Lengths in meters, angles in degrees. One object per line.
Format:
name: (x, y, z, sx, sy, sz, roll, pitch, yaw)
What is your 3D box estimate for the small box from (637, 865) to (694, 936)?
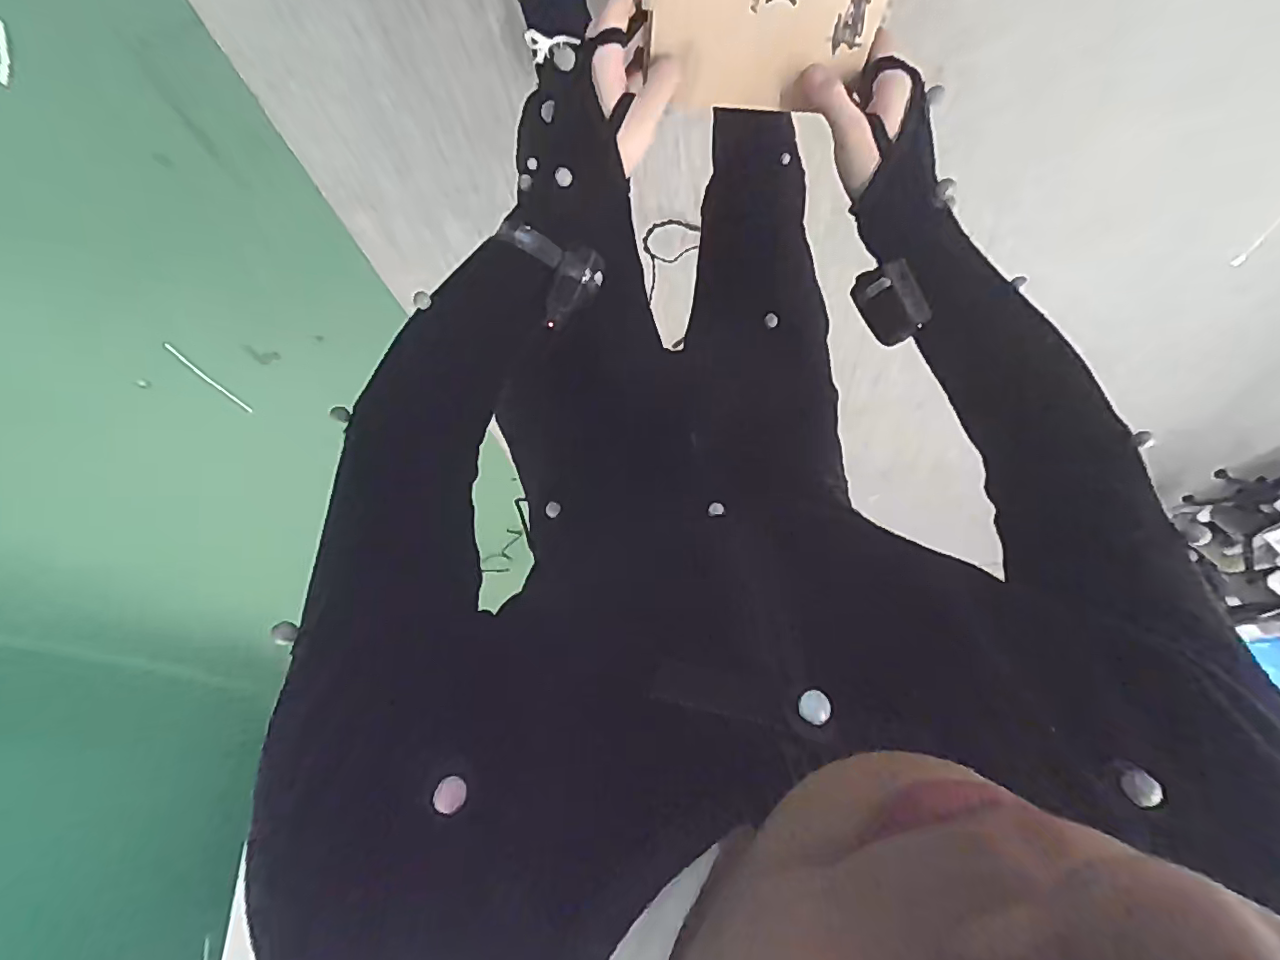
small box: (0.093, 1.513, 1.957, 0.179, 0.176, 0.168, -9, 150, 2)

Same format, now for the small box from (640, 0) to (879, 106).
small box: (0.094, -0.437, 0.432, 0.179, 0.176, 0.168, 2, 148, -4)
